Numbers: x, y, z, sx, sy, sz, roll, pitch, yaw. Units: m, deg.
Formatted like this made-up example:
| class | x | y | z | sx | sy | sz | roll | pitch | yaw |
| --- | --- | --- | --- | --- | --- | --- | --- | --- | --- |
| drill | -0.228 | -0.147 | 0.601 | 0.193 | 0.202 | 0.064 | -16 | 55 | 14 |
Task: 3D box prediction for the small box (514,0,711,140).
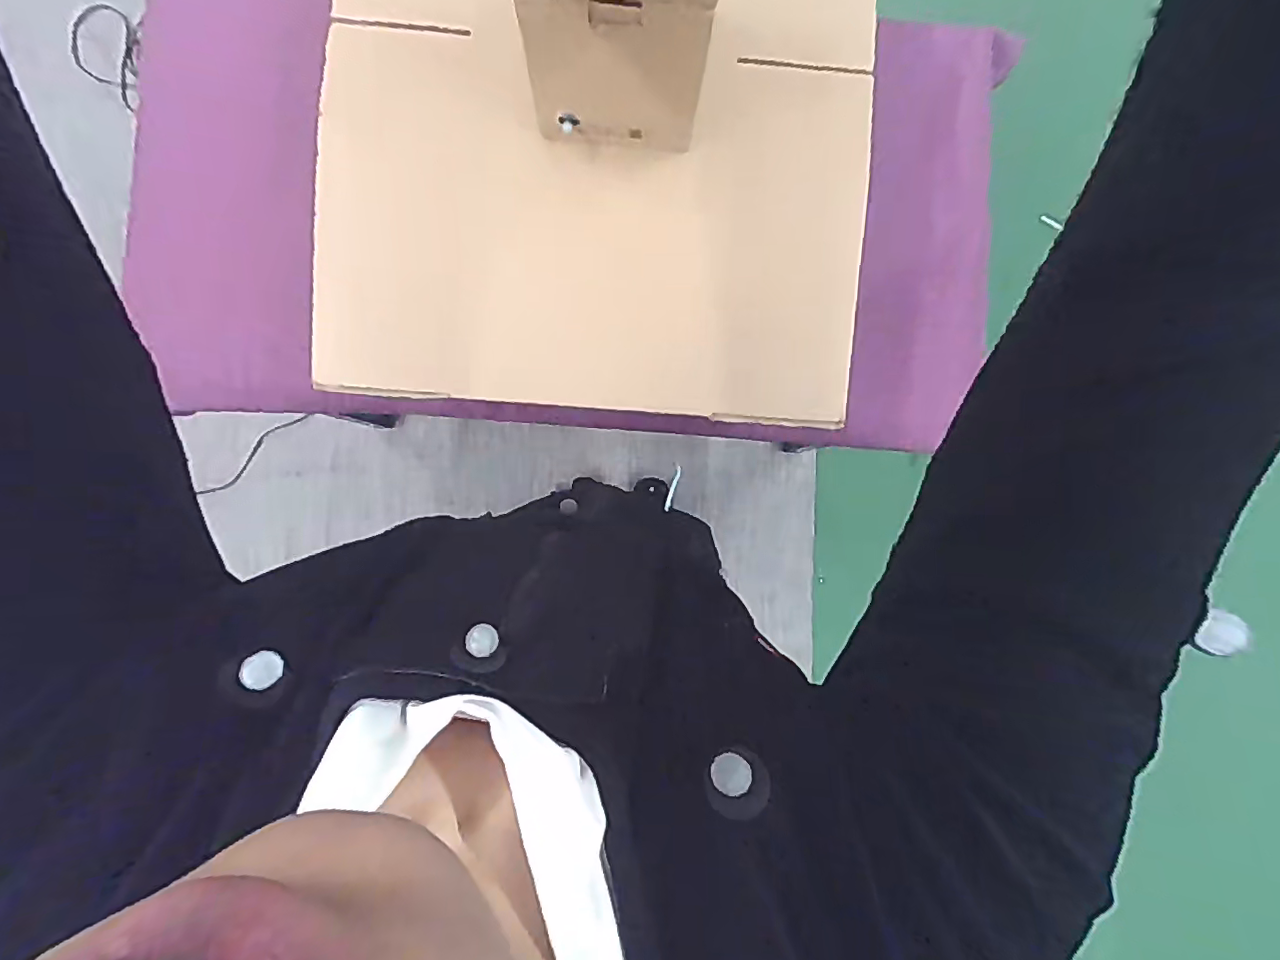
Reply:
| class | x | y | z | sx | sy | sz | roll | pitch | yaw |
| --- | --- | --- | --- | --- | --- | --- | --- | --- | --- |
| small box | -0.019 | -0.468 | 0.521 | 0.168 | 0.176 | 0.179 | 4 | 86 | -3 |
